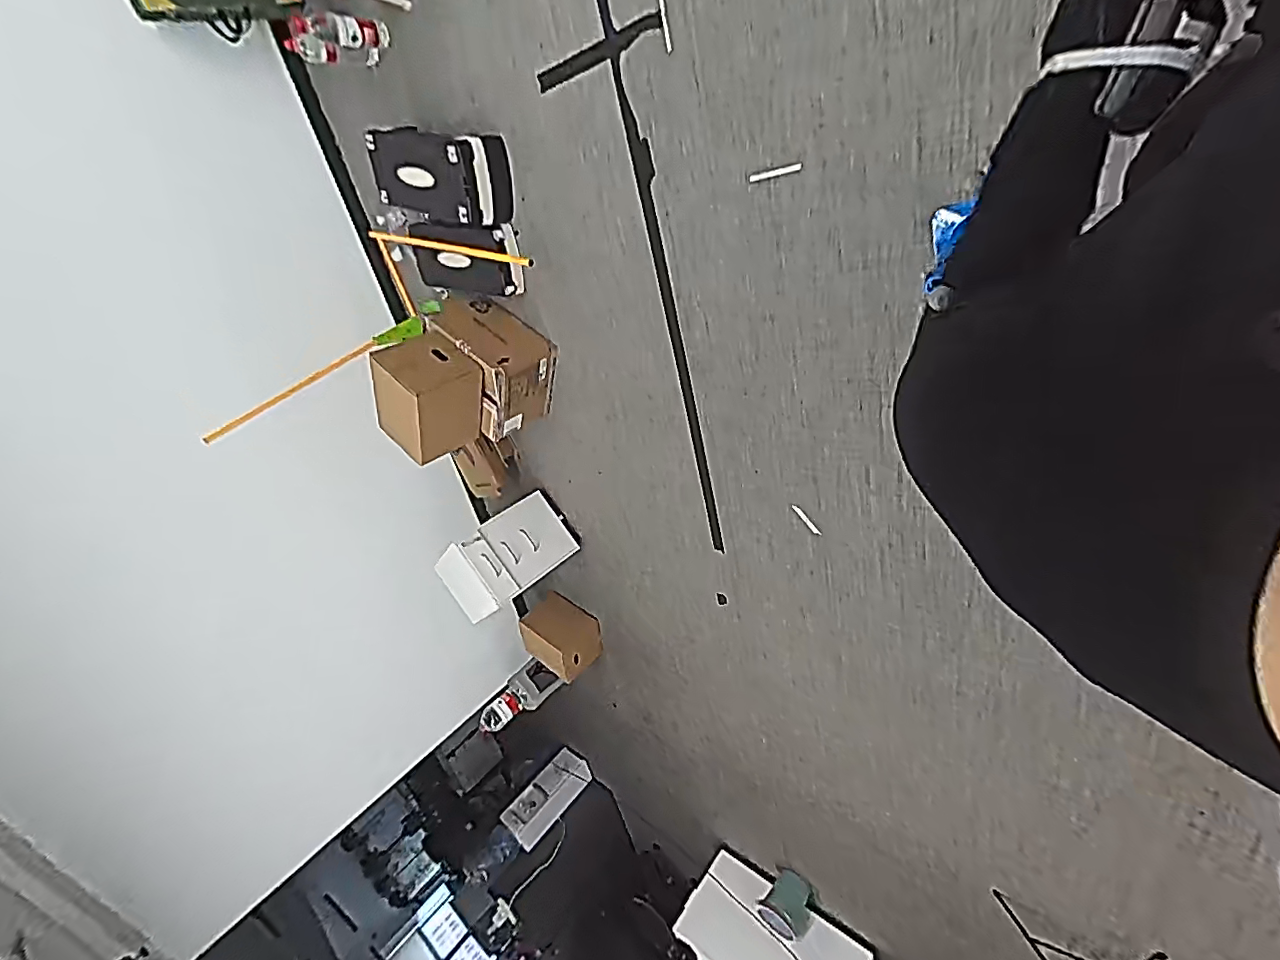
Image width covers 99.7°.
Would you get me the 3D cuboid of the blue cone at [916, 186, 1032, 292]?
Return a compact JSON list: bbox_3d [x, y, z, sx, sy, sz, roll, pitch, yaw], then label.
[{"bbox_3d":[0.640,-0.445,1.091,0.193,0.380,0.192,6,122,45],"label":"blue cone"}]
